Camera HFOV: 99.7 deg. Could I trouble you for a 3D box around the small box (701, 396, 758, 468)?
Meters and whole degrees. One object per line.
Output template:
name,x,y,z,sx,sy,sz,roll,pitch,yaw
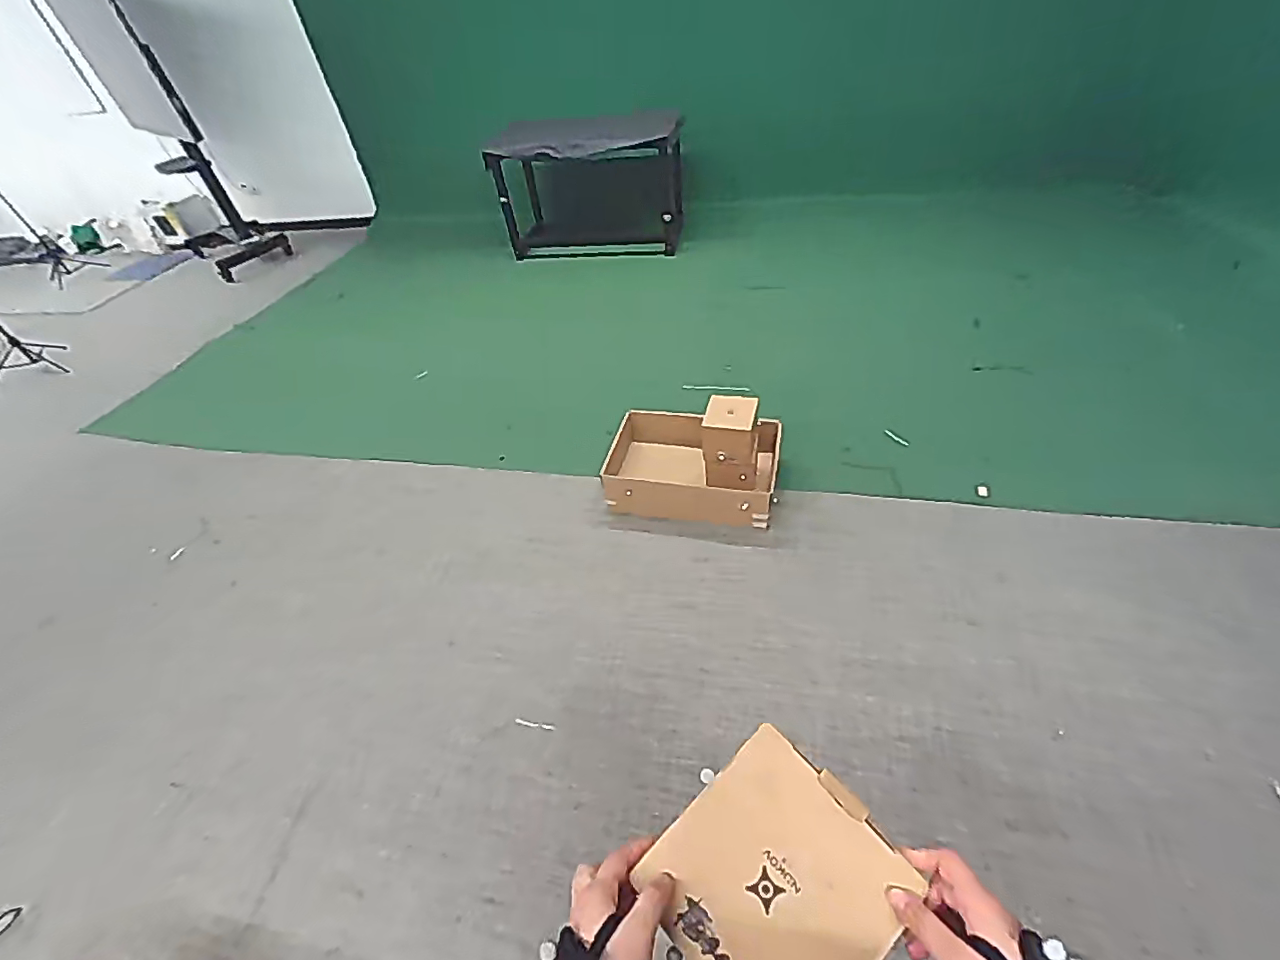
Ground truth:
small box,0.312,-0.166,1.870,0.168,0.176,0.179,7,47,17
